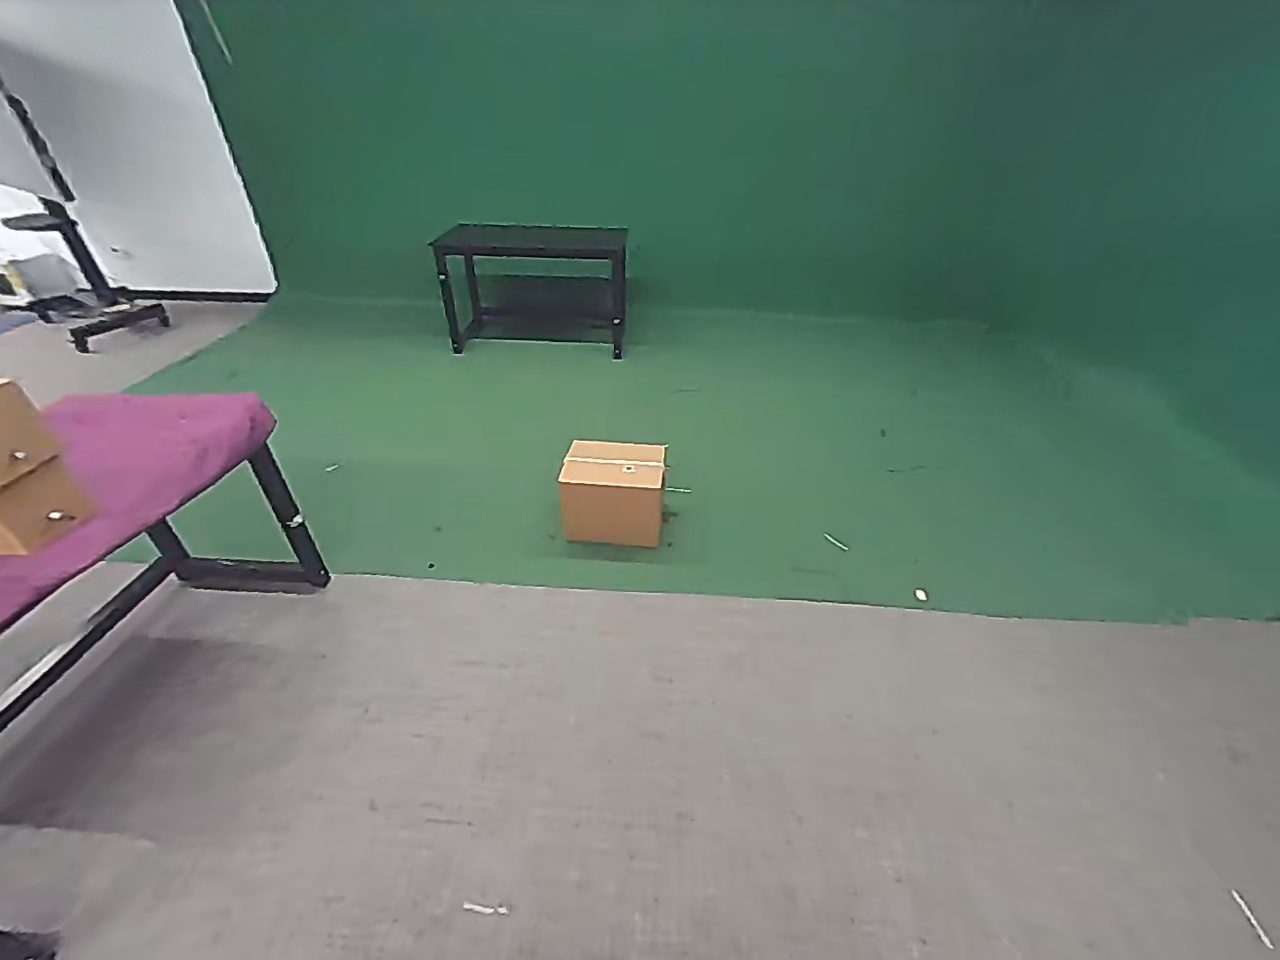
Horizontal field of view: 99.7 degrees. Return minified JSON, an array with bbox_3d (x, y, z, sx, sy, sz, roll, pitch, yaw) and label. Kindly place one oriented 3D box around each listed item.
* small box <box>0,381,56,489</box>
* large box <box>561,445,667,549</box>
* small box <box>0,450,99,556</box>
[{"bbox_3d":[-1.317,-0.083,1.052,0.168,0.176,0.179,2,35,2],"label":"small box"},{"bbox_3d":[-0.099,0.068,2.272,0.408,0.320,0.320,4,36,4],"label":"large box"},{"bbox_3d":[-1.345,0.045,1.155,0.179,0.176,0.168,4,36,4],"label":"small box"}]
